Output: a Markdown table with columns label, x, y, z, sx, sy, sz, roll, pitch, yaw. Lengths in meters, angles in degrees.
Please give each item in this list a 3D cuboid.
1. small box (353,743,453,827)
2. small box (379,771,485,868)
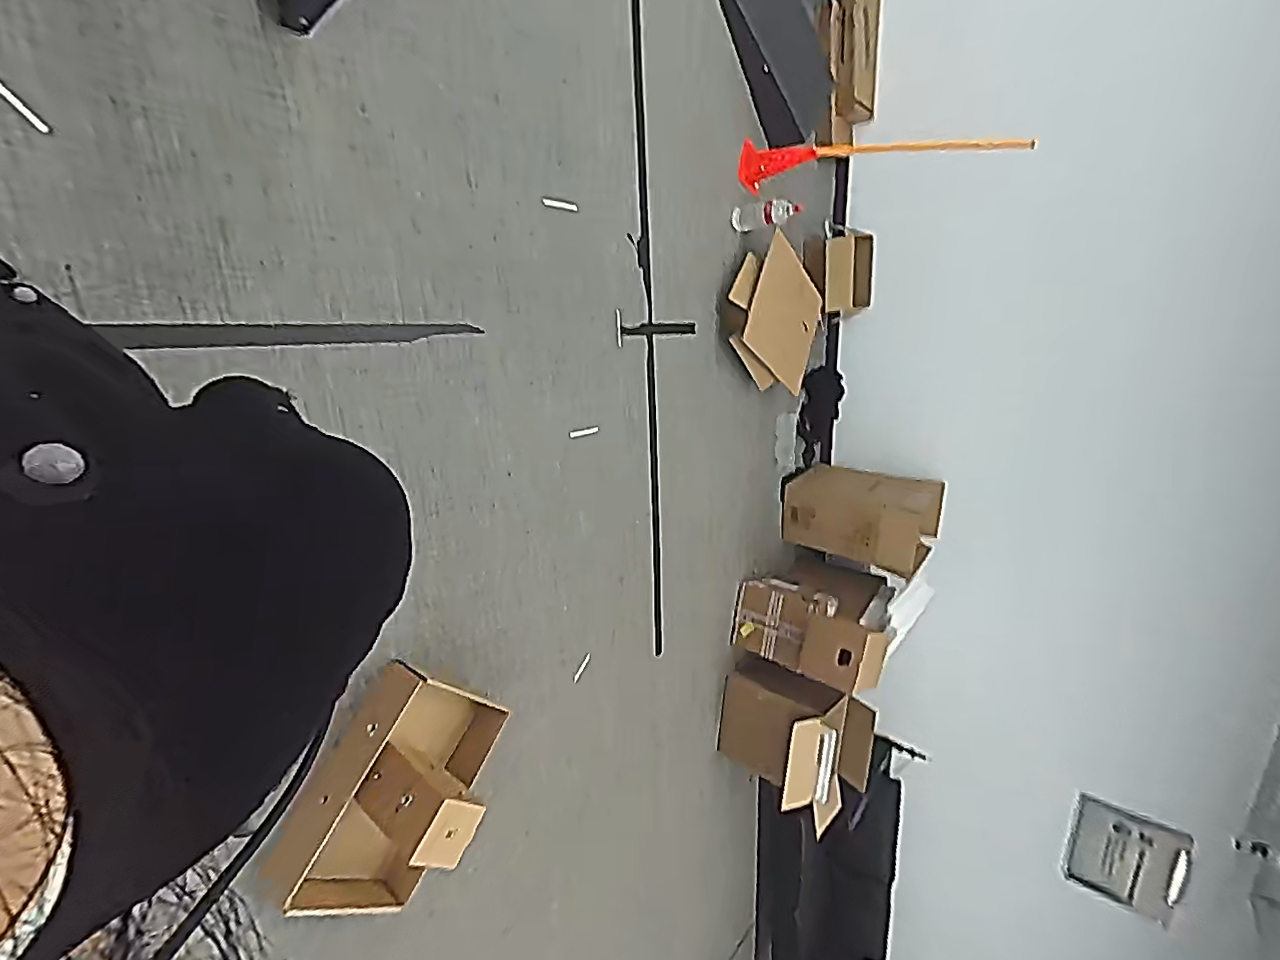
| label | x | y | z | sx | sy | sz | roll | pitch | yaw |
| --- | --- | --- | --- | --- | --- | --- | --- | --- | --- |
| small box | -0.698 | 0.908 | 1.596 | 0.168 | 0.176 | 0.179 | -60 | 138 | -23 |
| small box | -0.574 | 0.934 | 1.495 | 0.179 | 0.176 | 0.168 | 51 | 59 | -43 |
